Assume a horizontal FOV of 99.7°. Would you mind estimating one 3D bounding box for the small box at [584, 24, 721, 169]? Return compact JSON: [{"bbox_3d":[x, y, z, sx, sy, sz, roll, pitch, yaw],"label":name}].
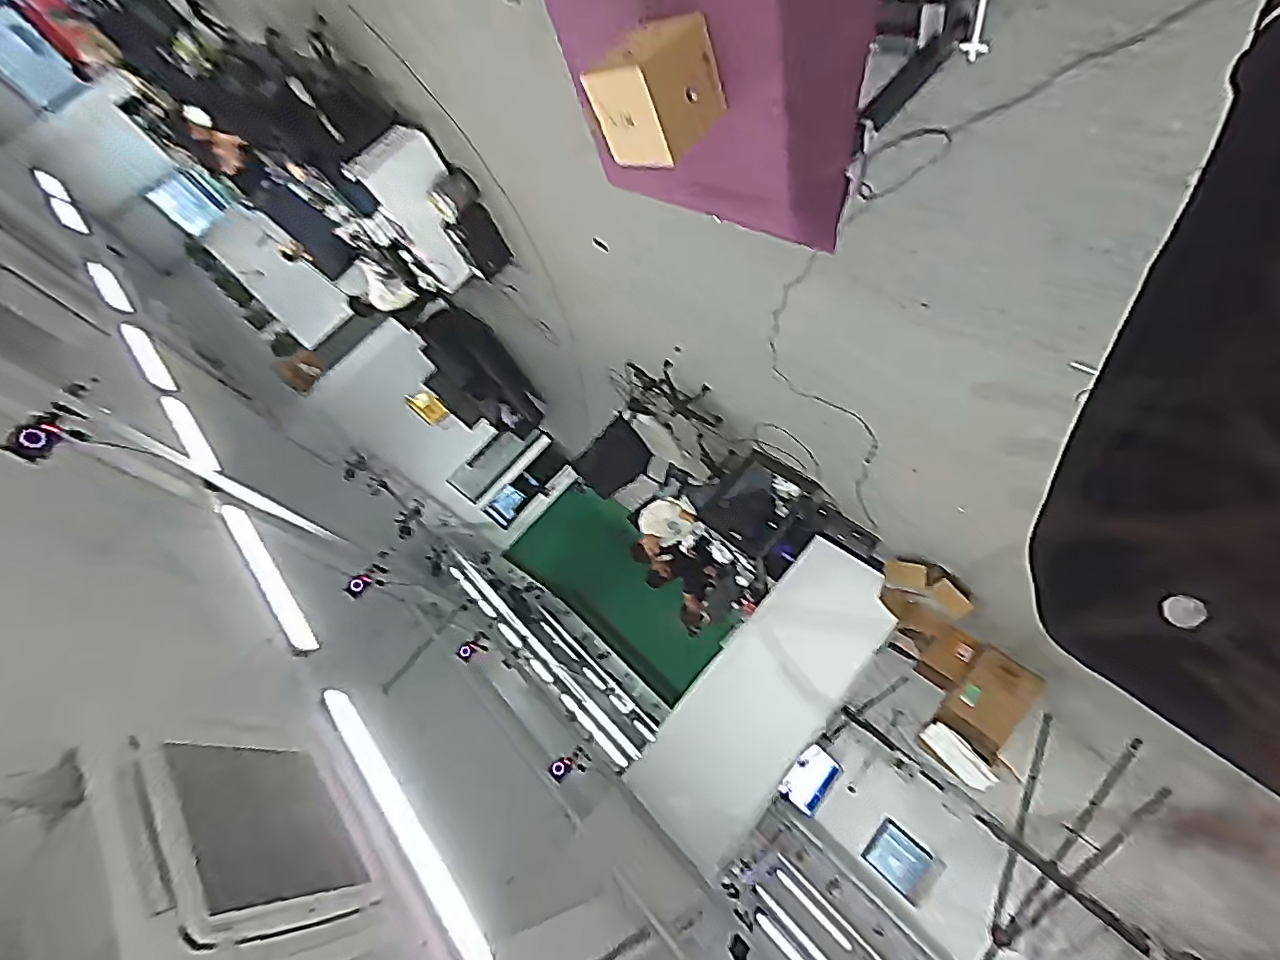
[{"bbox_3d":[0.034,-0.723,1.025,0.179,0.176,0.168,33,165,40],"label":"small box"}]
